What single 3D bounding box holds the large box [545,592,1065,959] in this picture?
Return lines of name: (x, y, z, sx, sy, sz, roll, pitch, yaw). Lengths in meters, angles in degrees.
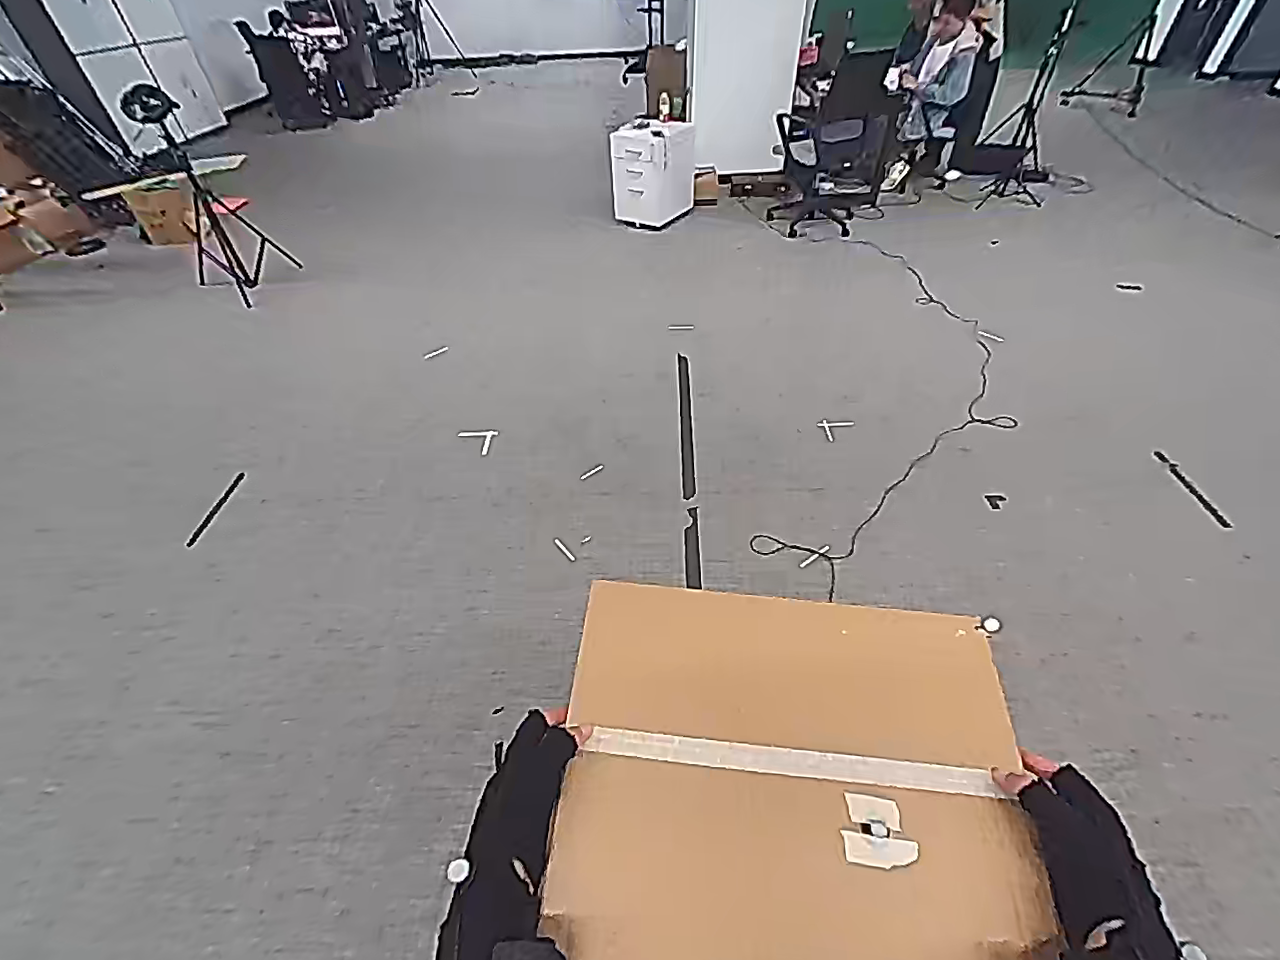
large box: (0.135, 0.346, 0.608, 0.408, 0.320, 0.320, 5, 54, 4)
